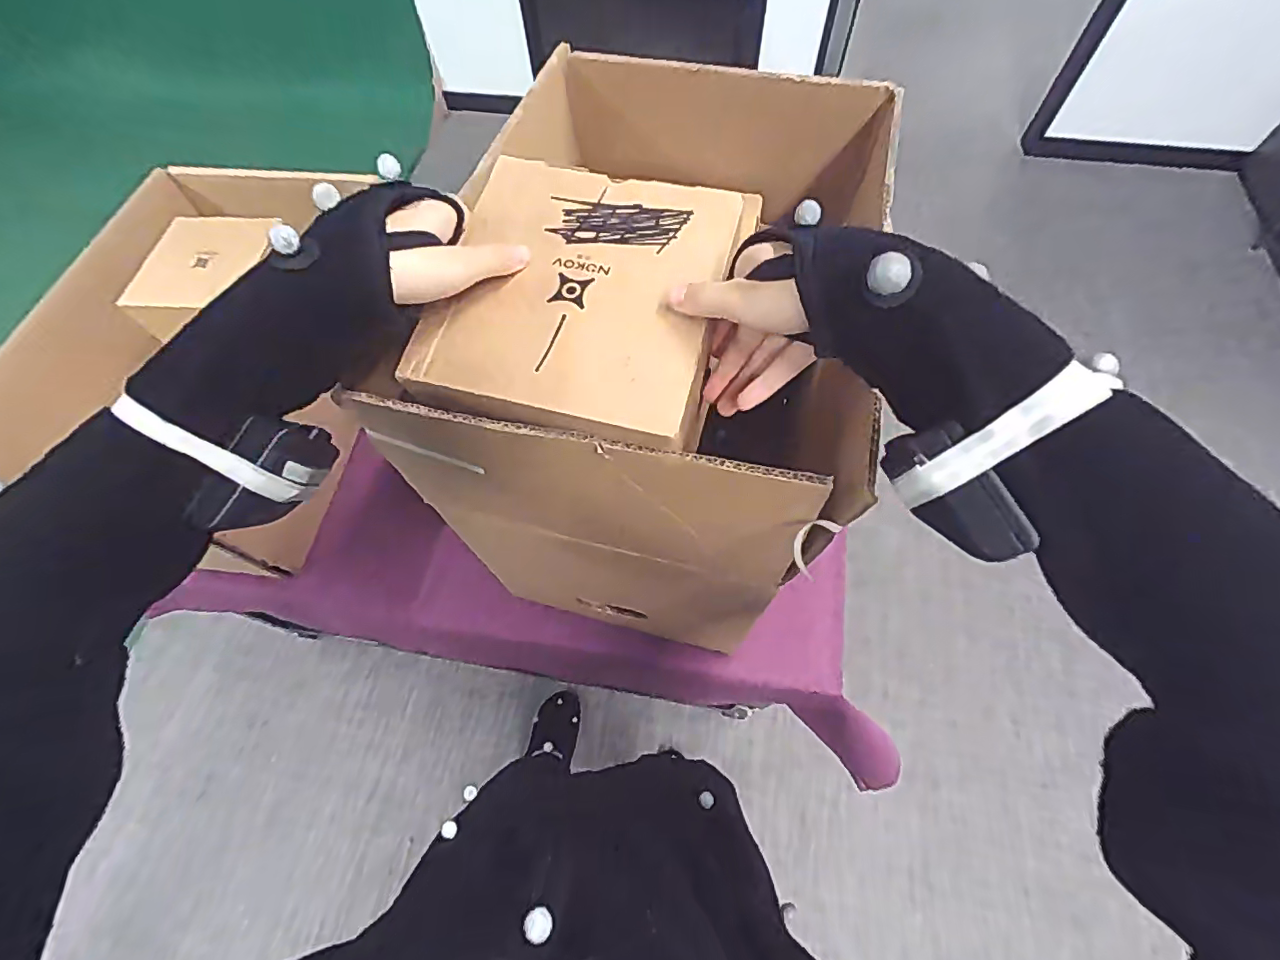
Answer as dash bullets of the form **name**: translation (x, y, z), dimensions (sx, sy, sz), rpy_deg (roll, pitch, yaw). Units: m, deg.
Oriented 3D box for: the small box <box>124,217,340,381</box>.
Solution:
- **small box**: translation (-0.590, -0.266, 0.814), dimensions (0.168, 0.176, 0.179), rpy_deg (3, 63, 5)
